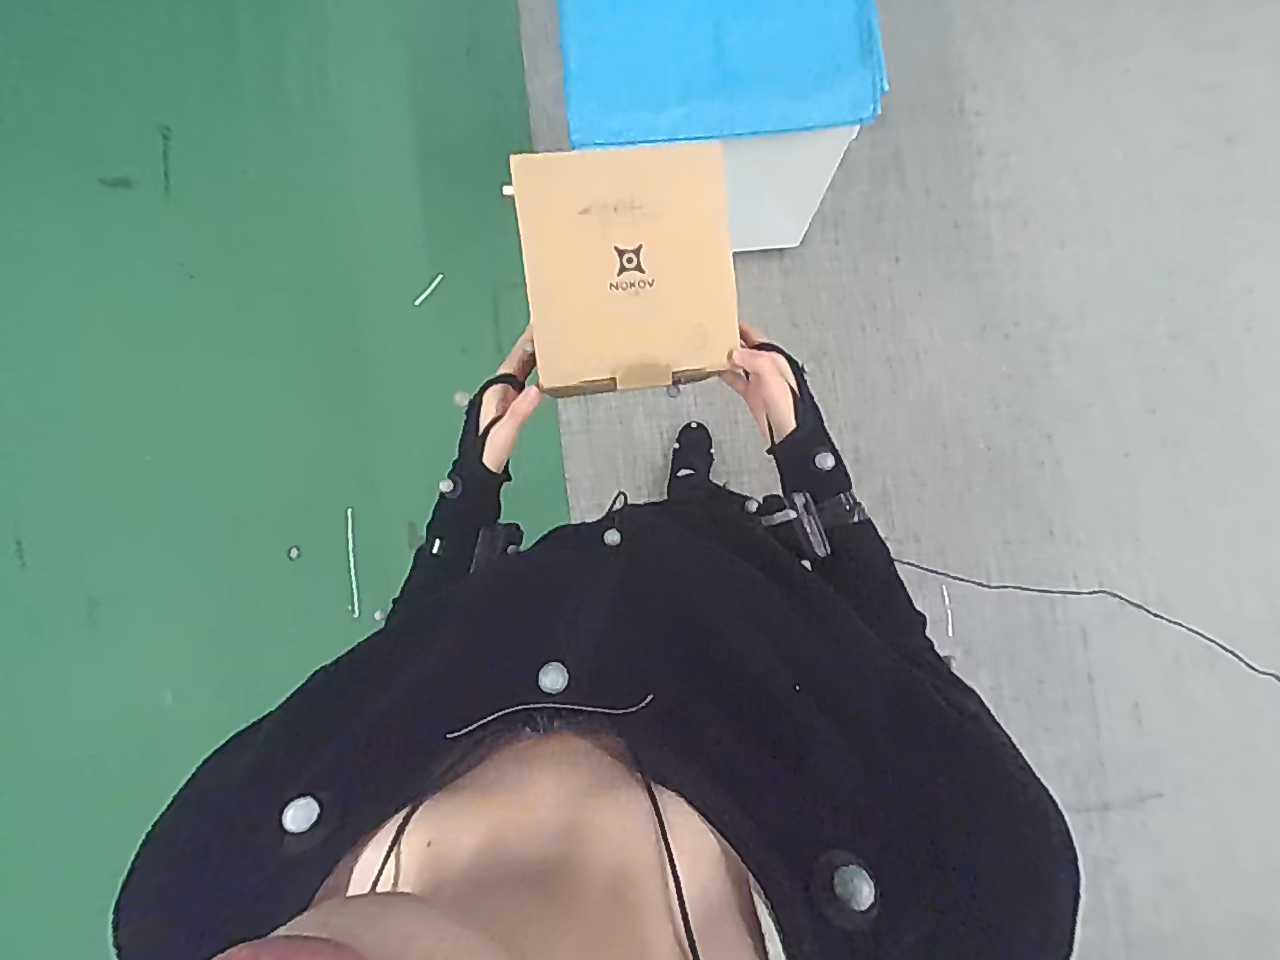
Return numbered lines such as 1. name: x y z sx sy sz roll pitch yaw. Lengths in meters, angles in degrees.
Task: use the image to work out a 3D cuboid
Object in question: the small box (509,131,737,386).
1. small box: -0.018 -0.179 0.490 0.168 0.176 0.179 -6 96 -6
